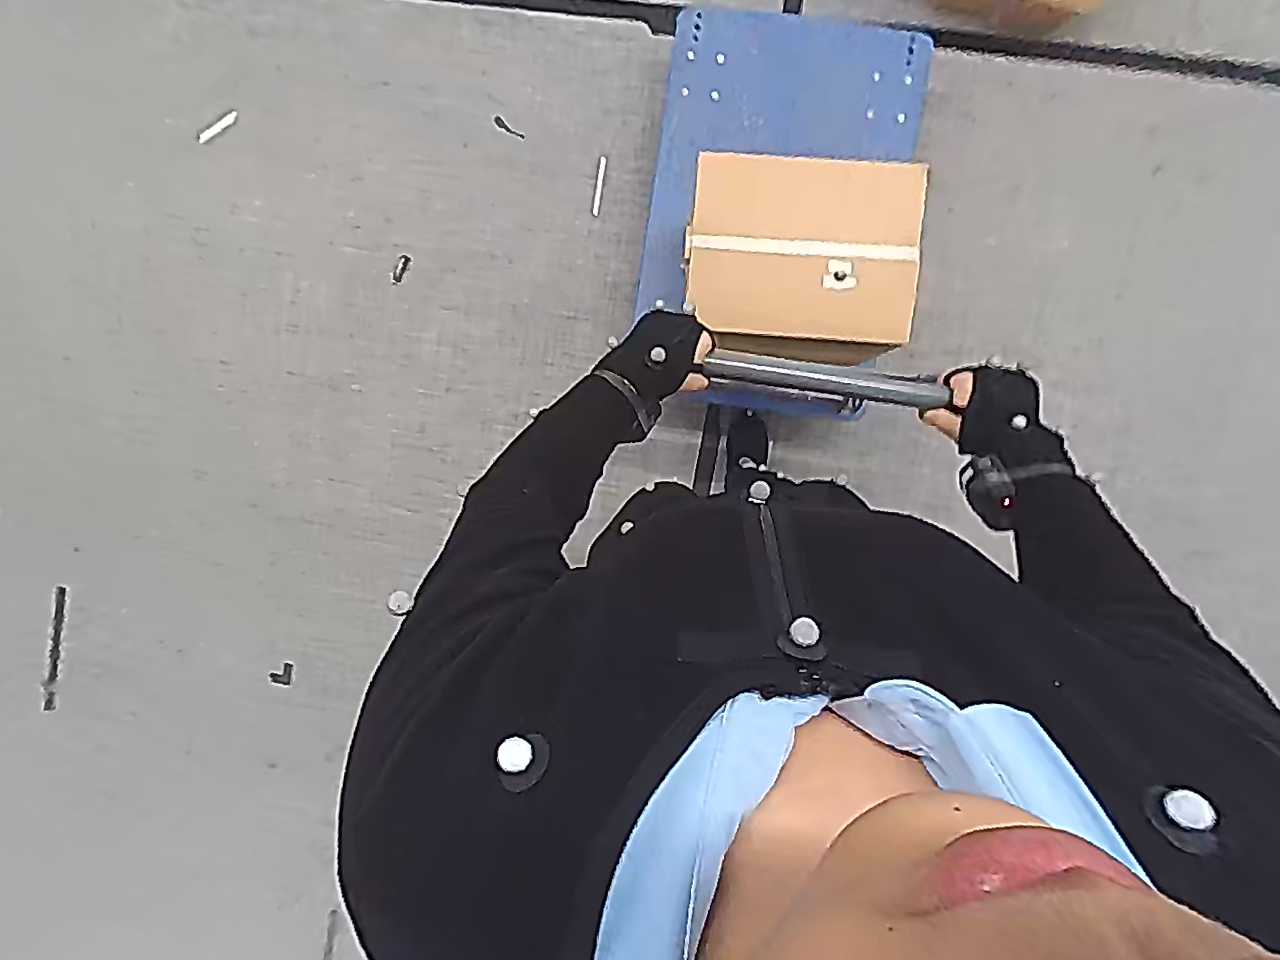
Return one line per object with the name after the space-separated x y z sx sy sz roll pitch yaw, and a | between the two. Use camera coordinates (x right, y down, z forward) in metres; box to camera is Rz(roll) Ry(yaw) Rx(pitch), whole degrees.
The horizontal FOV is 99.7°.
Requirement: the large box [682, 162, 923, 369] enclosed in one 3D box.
0.301 -0.417 1.124 0.408 0.320 0.320 5 95 2 | large box
